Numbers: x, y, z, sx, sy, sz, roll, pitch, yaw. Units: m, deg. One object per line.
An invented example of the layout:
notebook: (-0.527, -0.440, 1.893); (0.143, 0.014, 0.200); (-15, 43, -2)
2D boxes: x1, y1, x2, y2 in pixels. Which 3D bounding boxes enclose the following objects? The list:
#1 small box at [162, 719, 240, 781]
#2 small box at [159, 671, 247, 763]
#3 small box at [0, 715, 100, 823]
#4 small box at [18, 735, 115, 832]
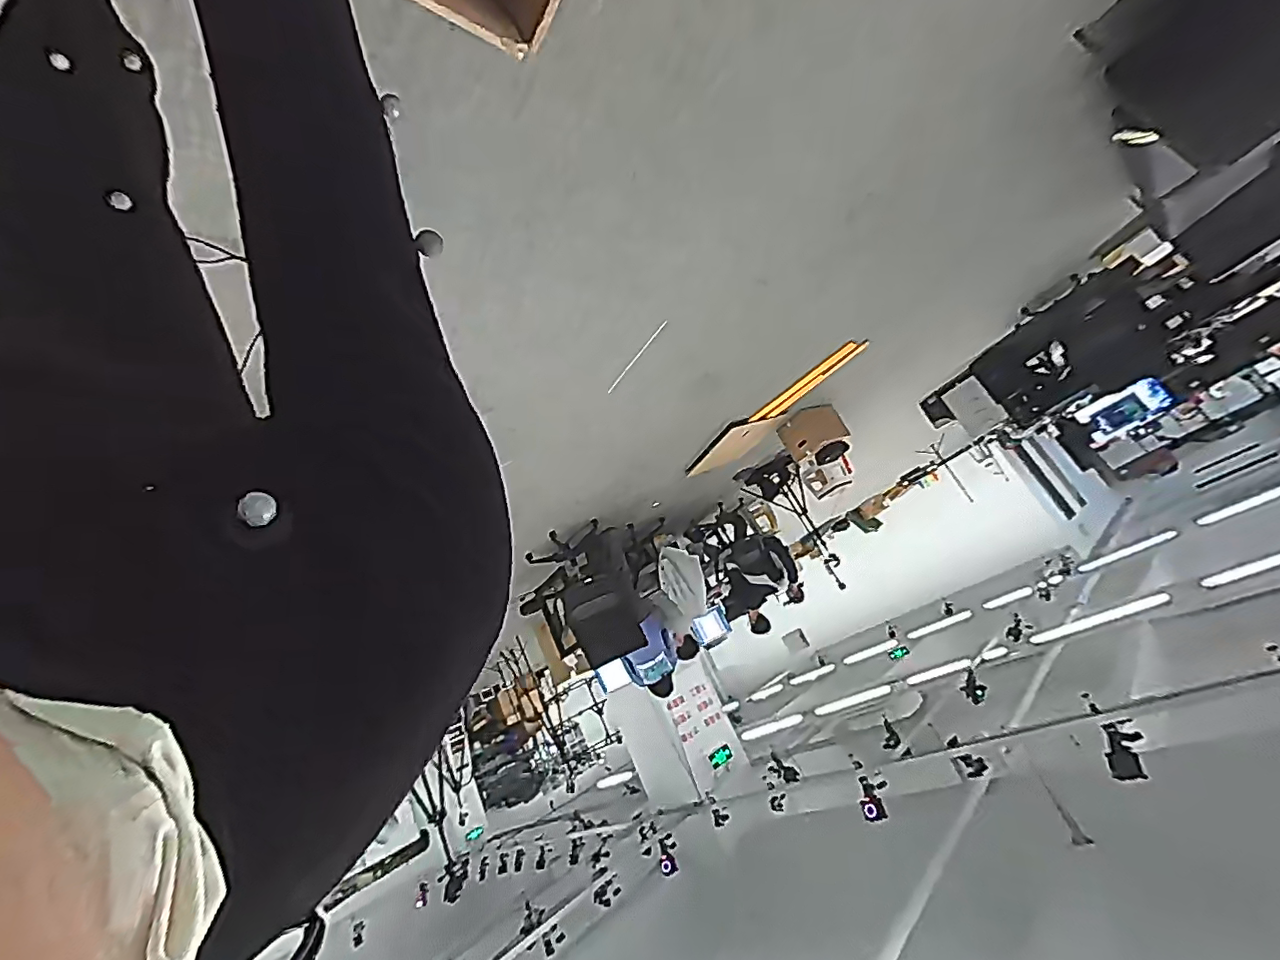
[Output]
small box: (-1.367, 0.798, 1.681); (0.168, 0.176, 0.179); (-9, 155, -44)
small box: (-1.209, 0.650, 1.496); (0.168, 0.176, 0.179); (-10, 156, -44)
small box: (-1.430, 0.690, 1.302); (0.168, 0.176, 0.179); (-9, 155, -44)
small box: (-1.569, 0.827, 1.481); (0.168, 0.176, 0.179); (-11, 154, -43)
